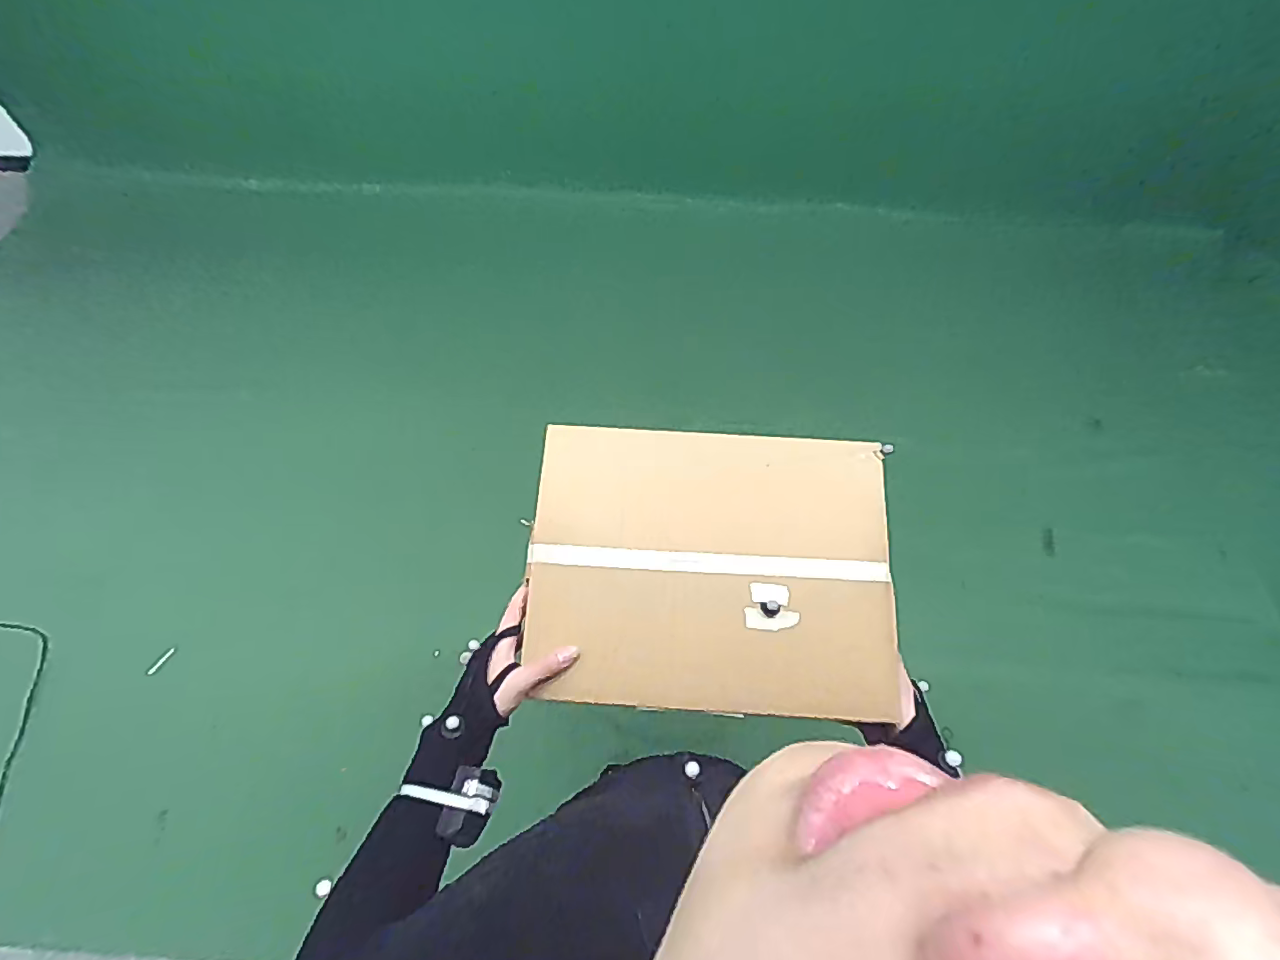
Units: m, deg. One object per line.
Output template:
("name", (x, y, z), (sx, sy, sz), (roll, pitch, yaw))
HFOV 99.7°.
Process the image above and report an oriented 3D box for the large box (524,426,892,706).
("large box", (0.075, 0.130, 0.760), (0.408, 0.320, 0.320), (3, 74, 0))
